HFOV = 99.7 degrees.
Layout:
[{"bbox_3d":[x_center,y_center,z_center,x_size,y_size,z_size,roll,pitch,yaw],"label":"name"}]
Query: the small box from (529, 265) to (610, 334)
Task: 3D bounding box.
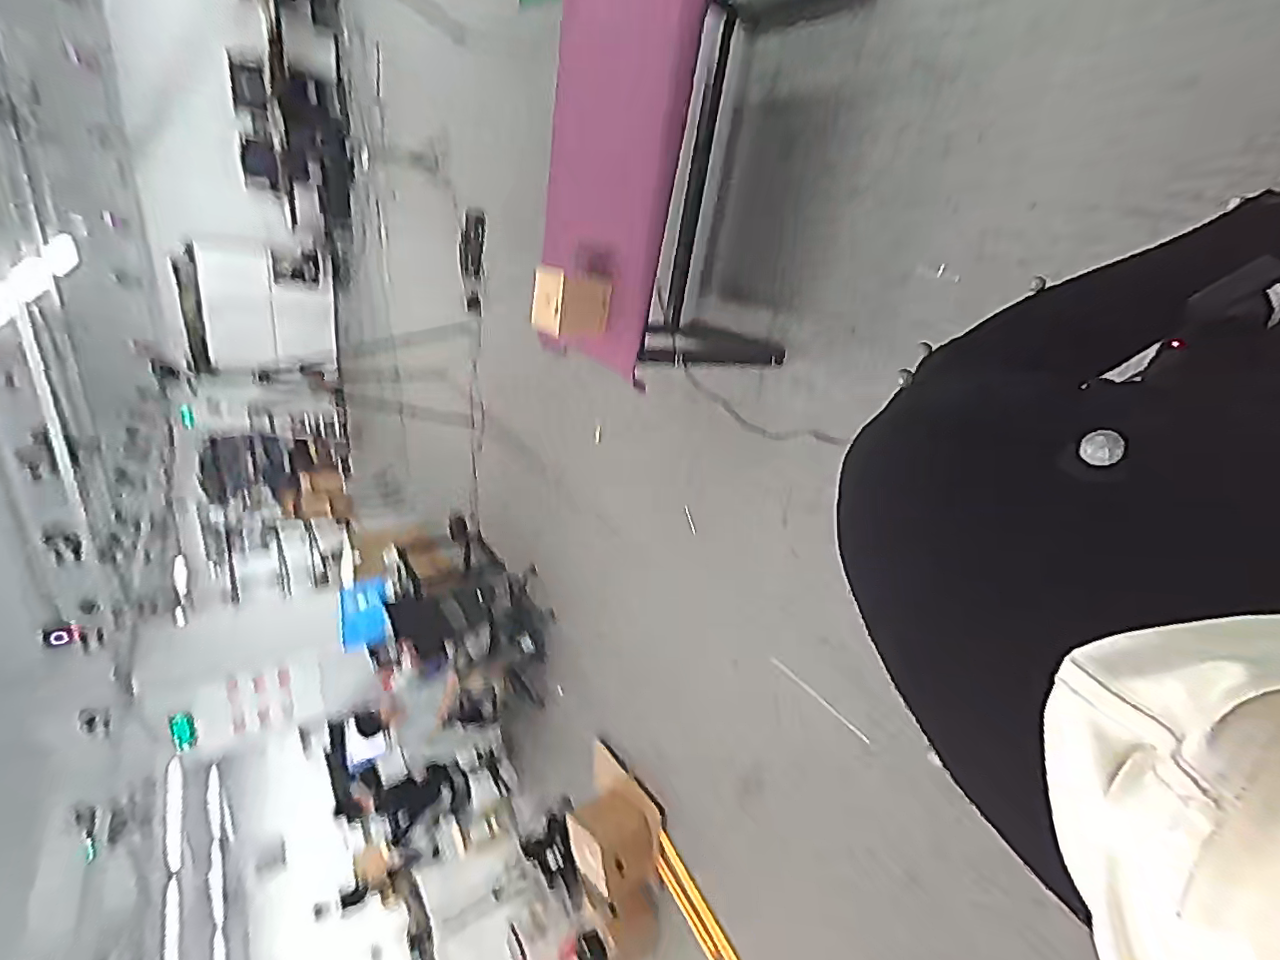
[{"bbox_3d":[-0.214,-0.539,1.627,0.179,0.176,0.168,35,123,45],"label":"small box"}]
